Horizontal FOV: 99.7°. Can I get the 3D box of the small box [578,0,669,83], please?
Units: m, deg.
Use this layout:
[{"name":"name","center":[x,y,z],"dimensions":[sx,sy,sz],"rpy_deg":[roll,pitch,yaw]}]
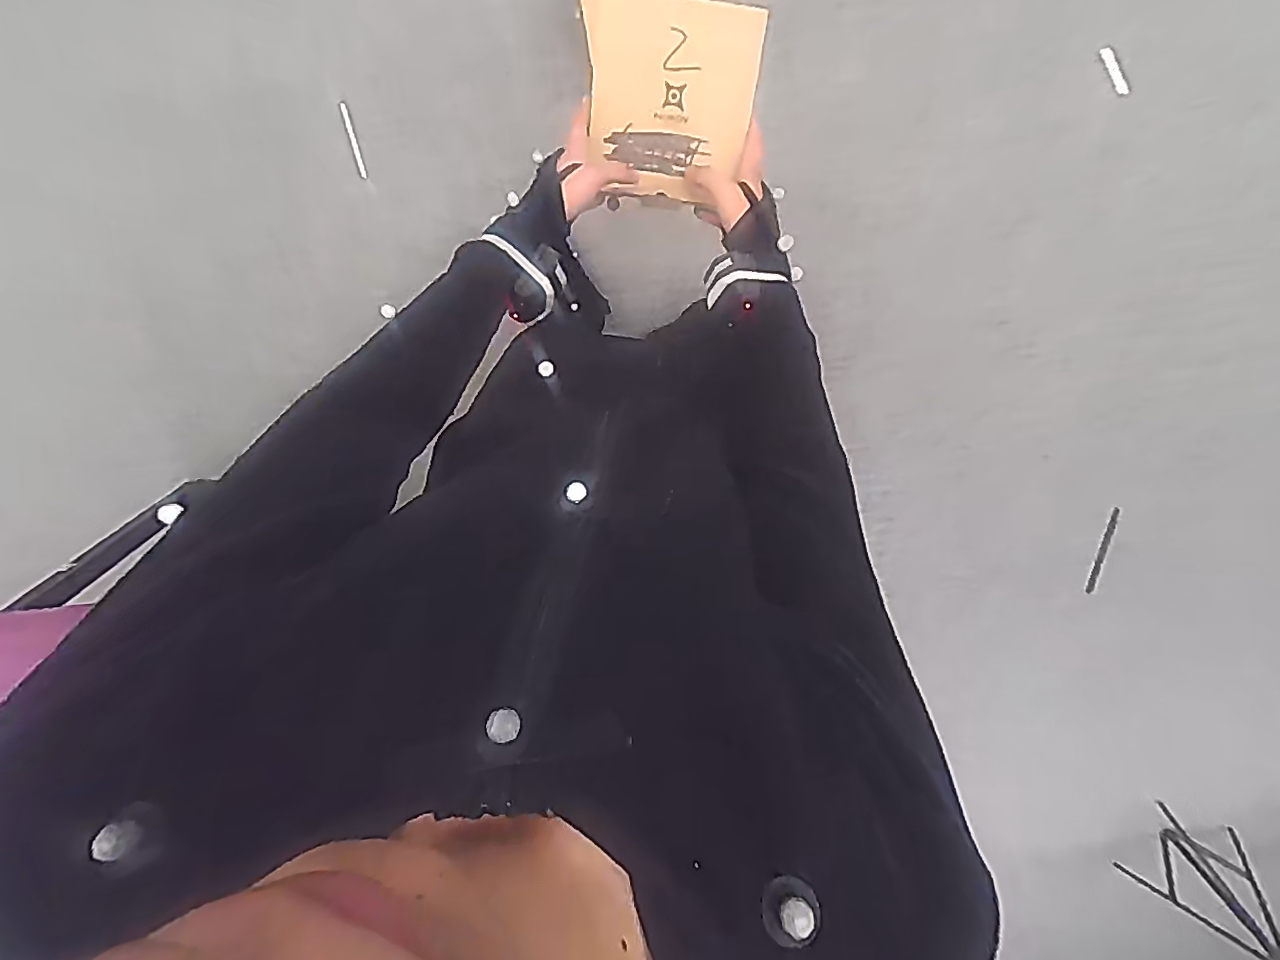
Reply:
[{"name":"small box","center":[-0.038,-0.959,1.126],"dimensions":[0.168,0.176,0.179],"rpy_deg":[-10,120,2]}]
